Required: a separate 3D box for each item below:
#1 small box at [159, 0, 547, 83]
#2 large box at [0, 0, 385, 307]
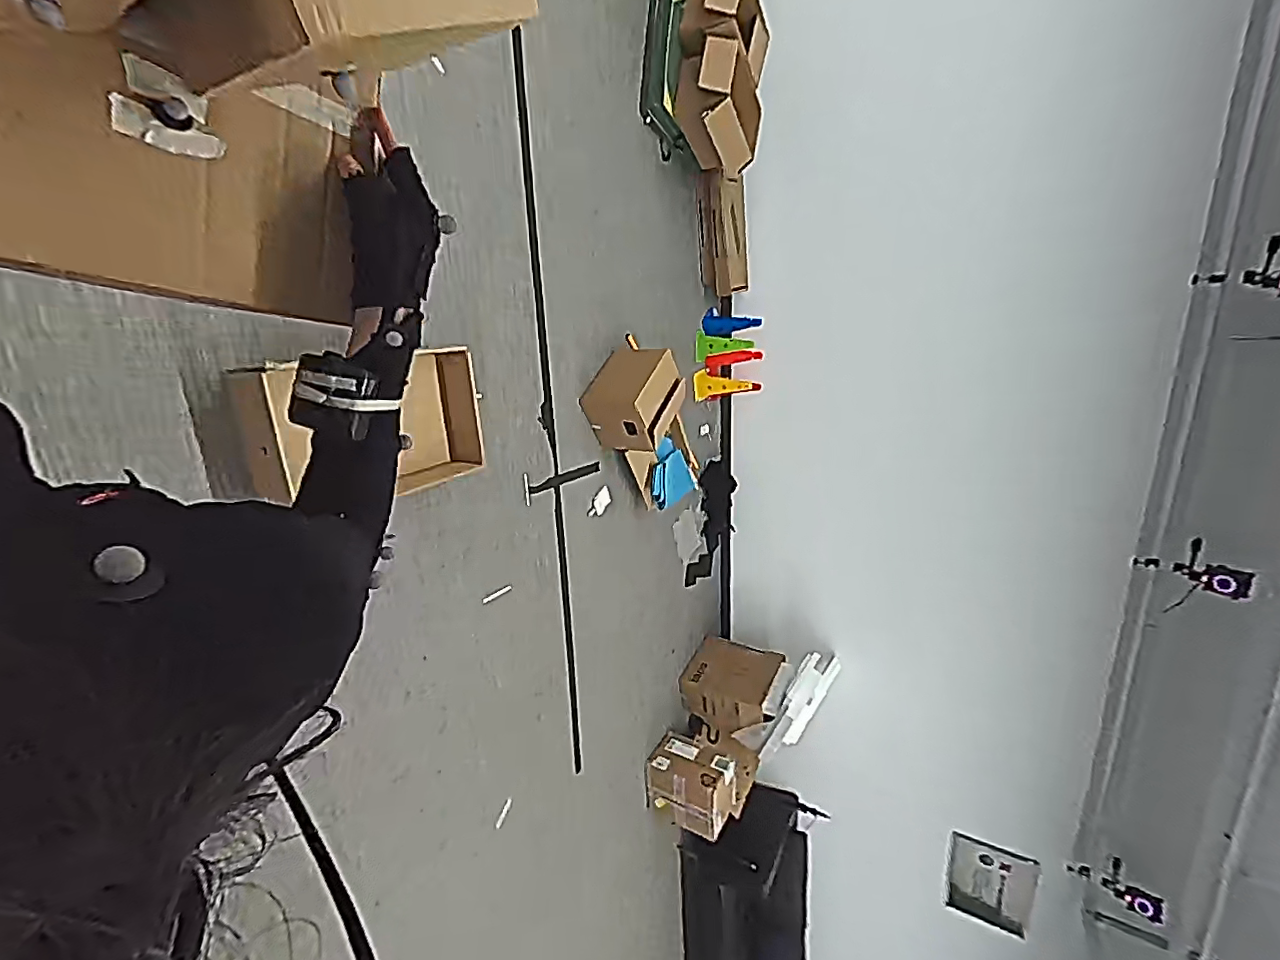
[{"bbox_3d":[-0.186,-0.349,0.301,0.168,0.176,0.179,-44,137,-36],"label":"small box"},{"bbox_3d":[-0.453,-0.324,0.368,0.408,0.320,0.320,-4,108,-56],"label":"large box"}]
